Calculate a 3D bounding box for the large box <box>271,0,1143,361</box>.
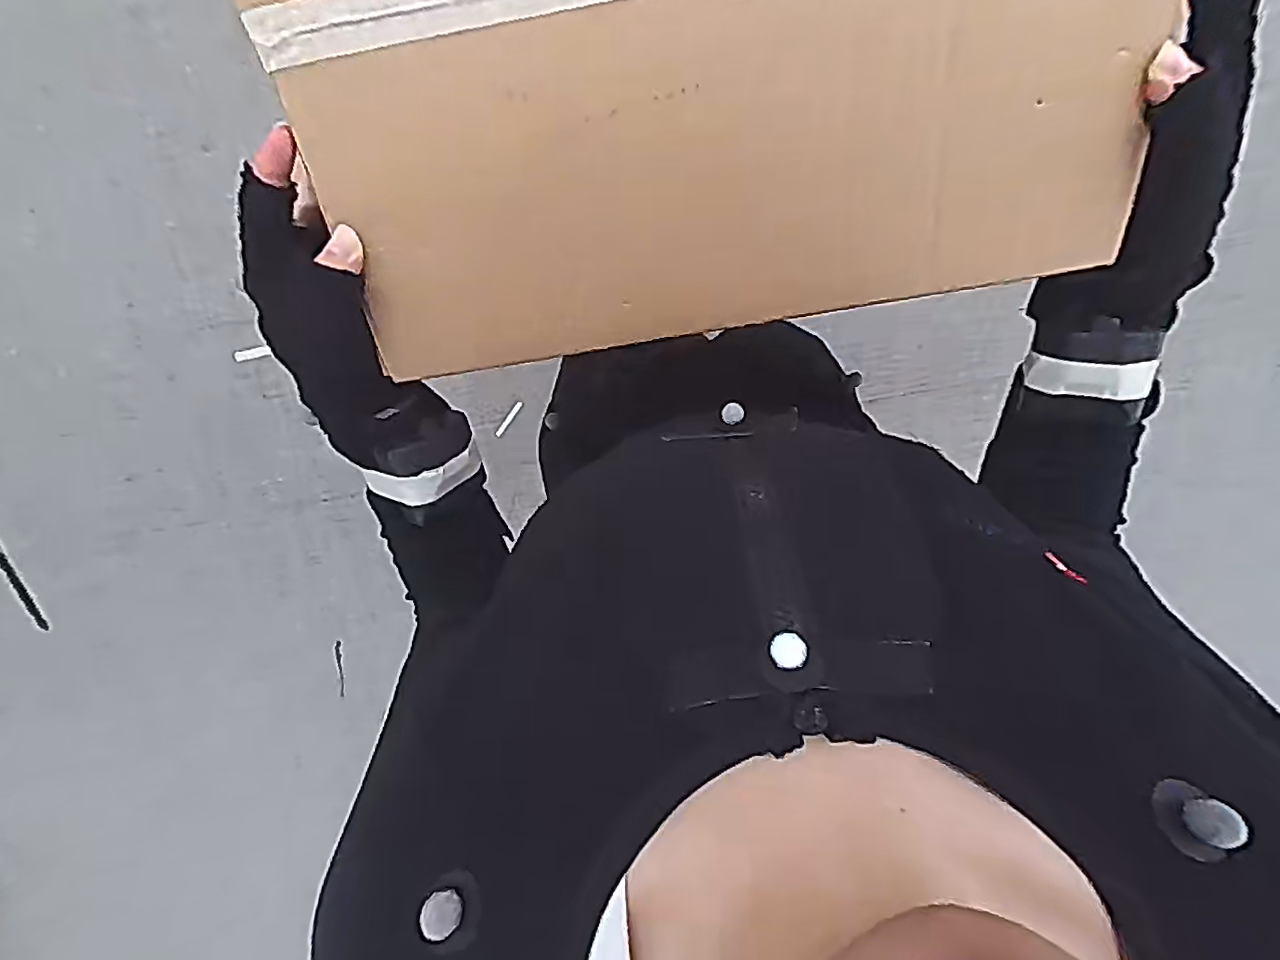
[{"bbox_3d":[0.024,-0.303,0.372,0.408,0.320,0.320,-9,118,3],"label":"large box"}]
